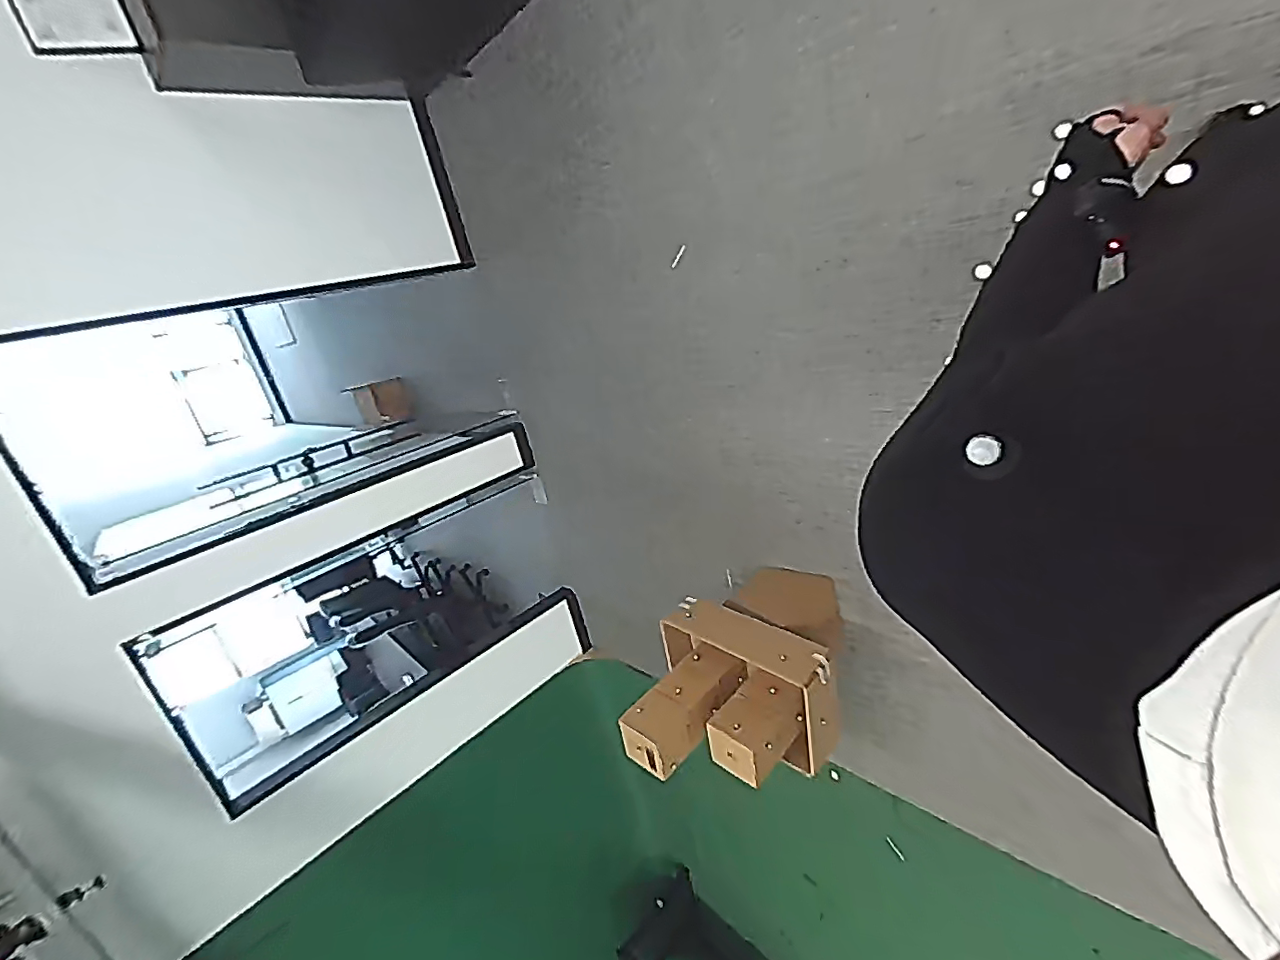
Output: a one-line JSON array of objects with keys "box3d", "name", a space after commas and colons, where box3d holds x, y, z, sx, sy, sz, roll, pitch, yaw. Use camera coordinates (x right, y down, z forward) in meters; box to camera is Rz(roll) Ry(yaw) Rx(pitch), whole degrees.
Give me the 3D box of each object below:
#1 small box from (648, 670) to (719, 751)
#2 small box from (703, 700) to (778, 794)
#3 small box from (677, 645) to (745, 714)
[{"box3d": [0.155, 0.799, 1.900, 0.179, 0.176, 0.168, 10, 118, 43], "name": "small box"}, {"box3d": [0.326, 0.840, 1.723, 0.179, 0.176, 0.168, 13, 120, 45], "name": "small box"}, {"box3d": [0.264, 0.739, 2.002, 0.179, 0.176, 0.168, 11, 120, 44], "name": "small box"}]
